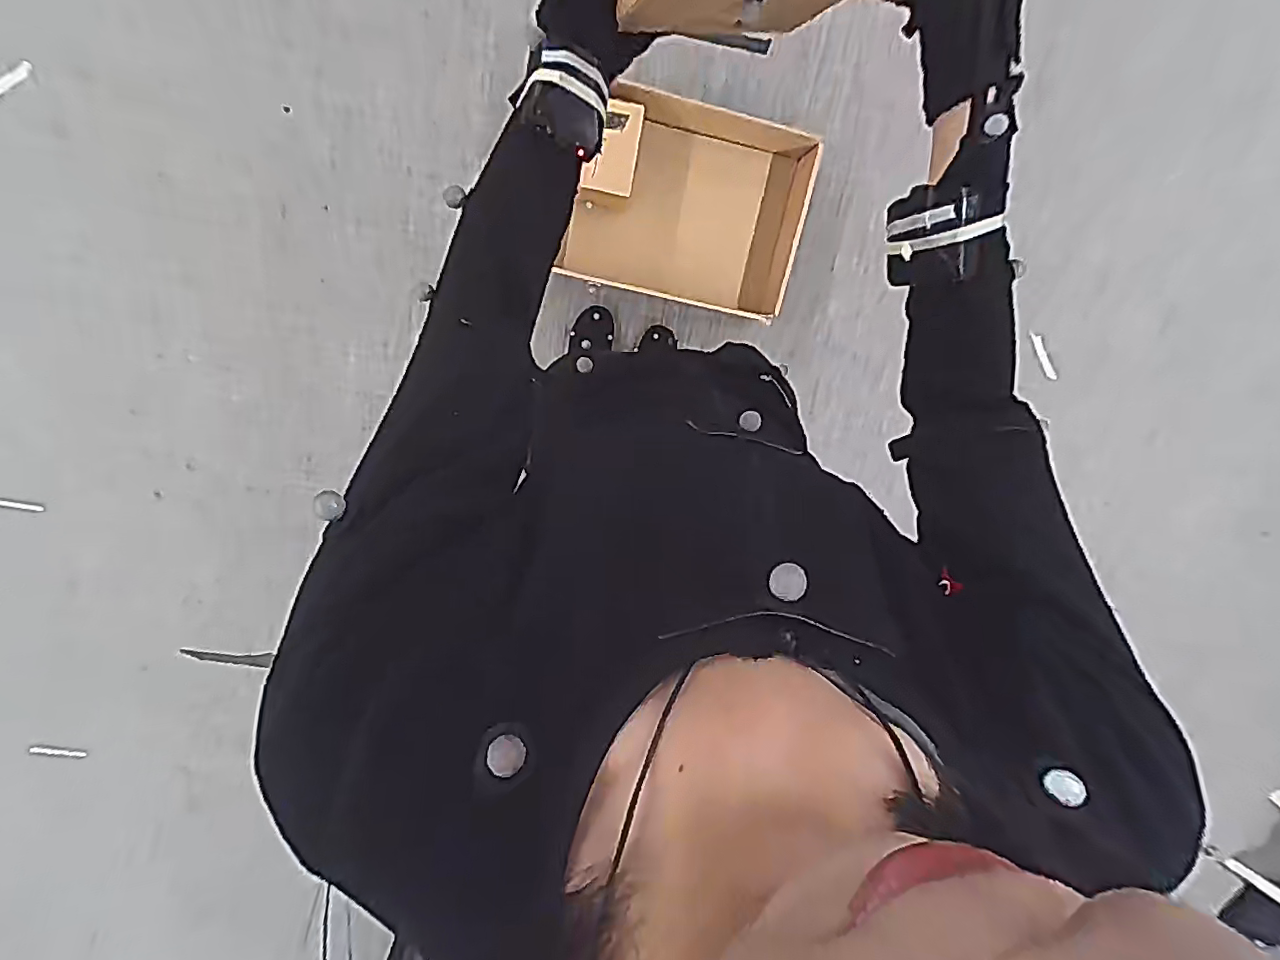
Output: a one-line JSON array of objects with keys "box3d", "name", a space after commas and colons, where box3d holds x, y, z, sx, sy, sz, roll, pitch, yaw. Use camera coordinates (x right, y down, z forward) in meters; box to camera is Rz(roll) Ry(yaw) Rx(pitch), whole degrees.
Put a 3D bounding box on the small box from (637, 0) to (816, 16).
[{"box3d": [0.075, -0.420, 0.333, 0.168, 0.176, 0.179, -12, 116, -15], "name": "small box"}]
